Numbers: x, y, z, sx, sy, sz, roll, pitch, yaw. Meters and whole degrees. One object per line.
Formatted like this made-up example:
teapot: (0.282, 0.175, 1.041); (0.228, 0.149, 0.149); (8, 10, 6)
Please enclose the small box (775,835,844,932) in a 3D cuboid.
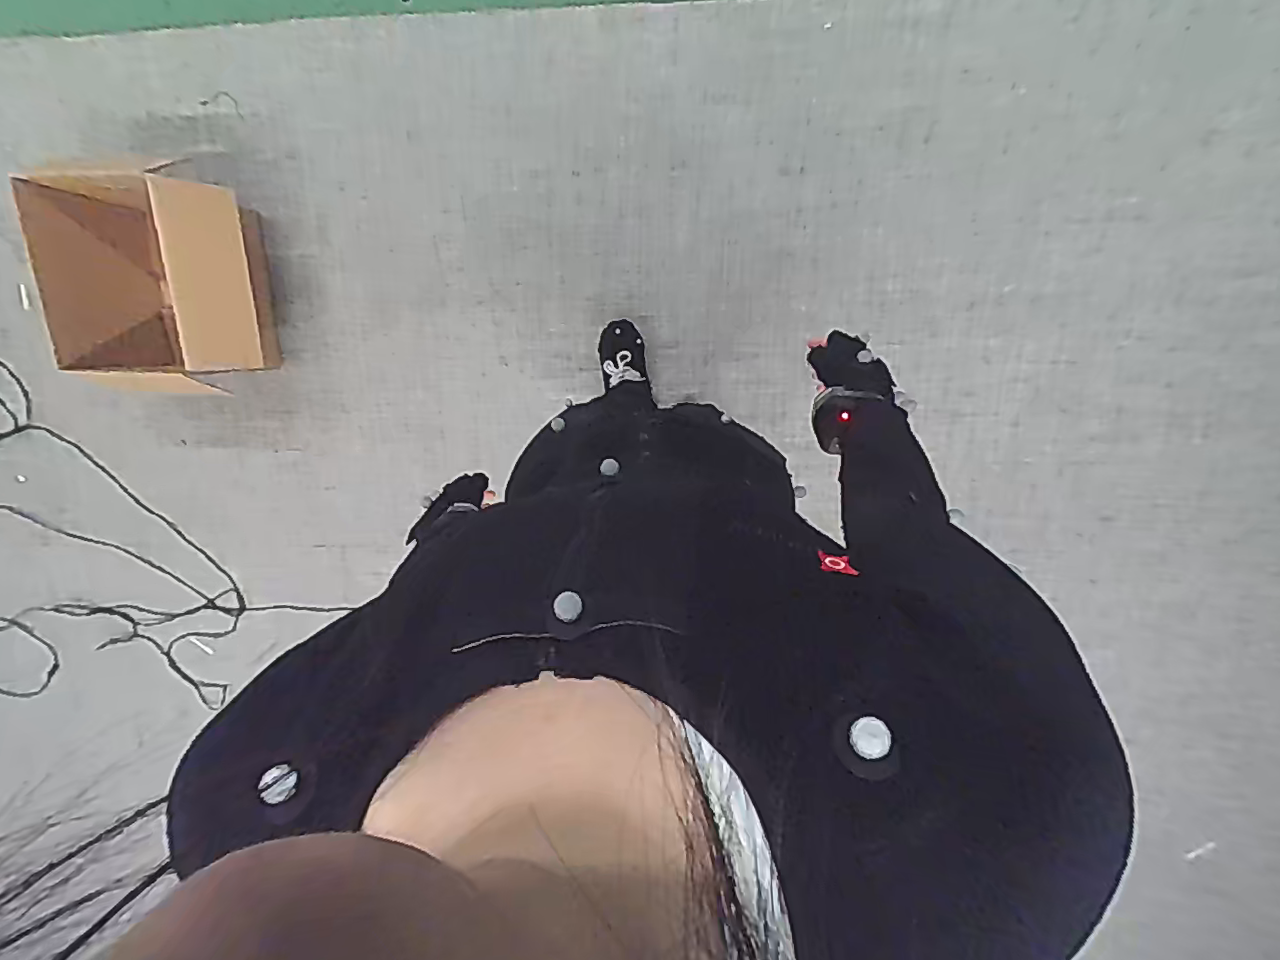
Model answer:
small box: (0.517, 1.240, 1.667); (0.168, 0.176, 0.179); (-2, 103, 3)
